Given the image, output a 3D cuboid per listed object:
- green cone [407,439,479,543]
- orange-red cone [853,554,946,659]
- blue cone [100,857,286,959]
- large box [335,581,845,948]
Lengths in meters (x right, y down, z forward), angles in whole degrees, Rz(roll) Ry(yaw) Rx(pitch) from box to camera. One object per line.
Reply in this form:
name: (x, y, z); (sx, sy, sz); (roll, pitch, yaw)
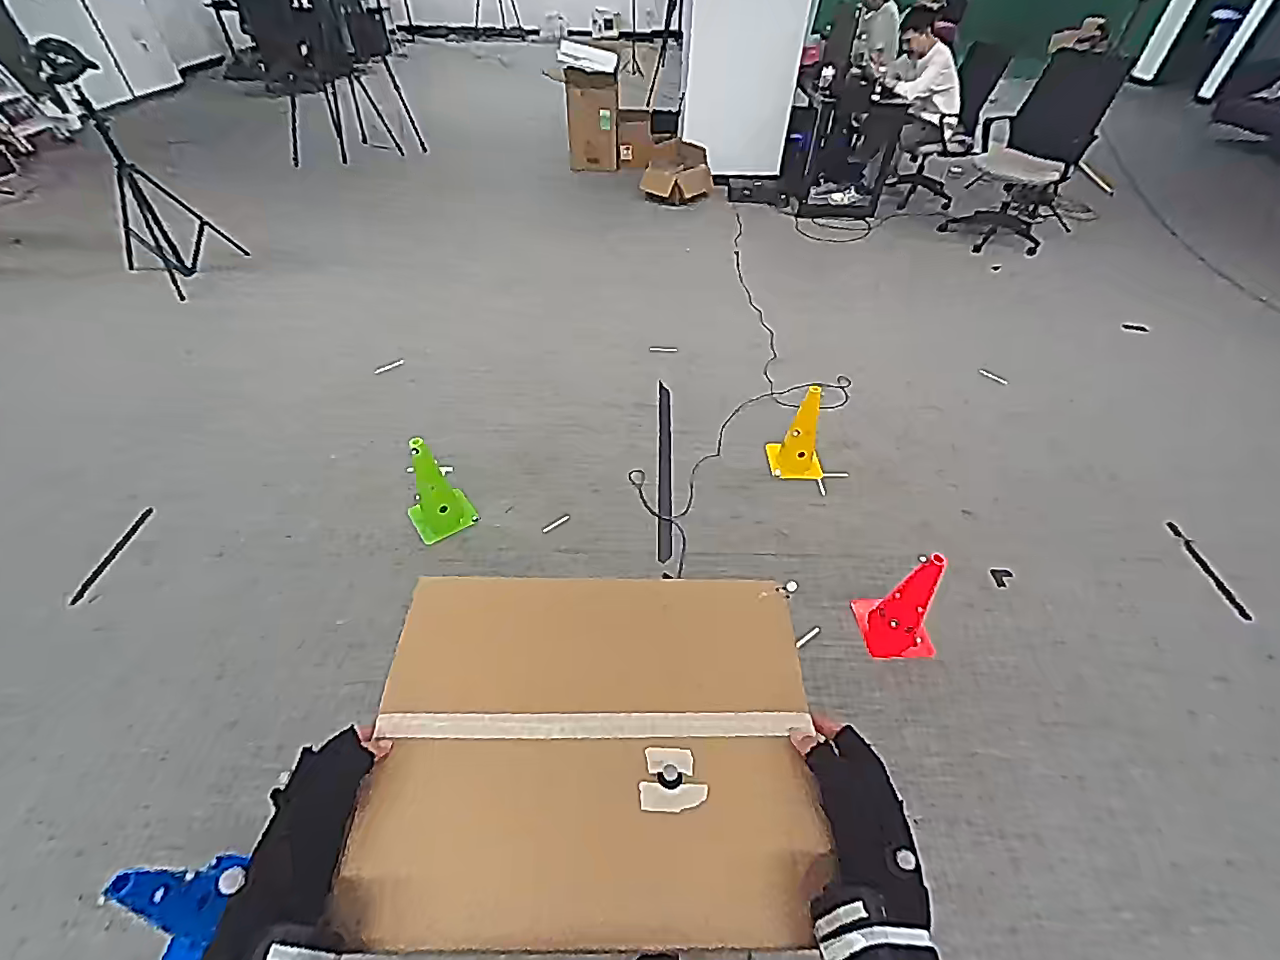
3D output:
green cone: (-0.702, 0.003, 1.814); (0.202, 0.368, 0.200); (-28, 52, -24)
orange-red cone: (0.774, 0.330, 1.532); (0.198, 0.360, 0.199); (0, 44, -2)
blue cone: (-0.878, 0.810, 1.040); (0.192, 0.380, 0.193); (3, 45, 3)
large box: (-0.044, 0.329, 0.623); (0.408, 0.320, 0.320); (1, 49, -2)
